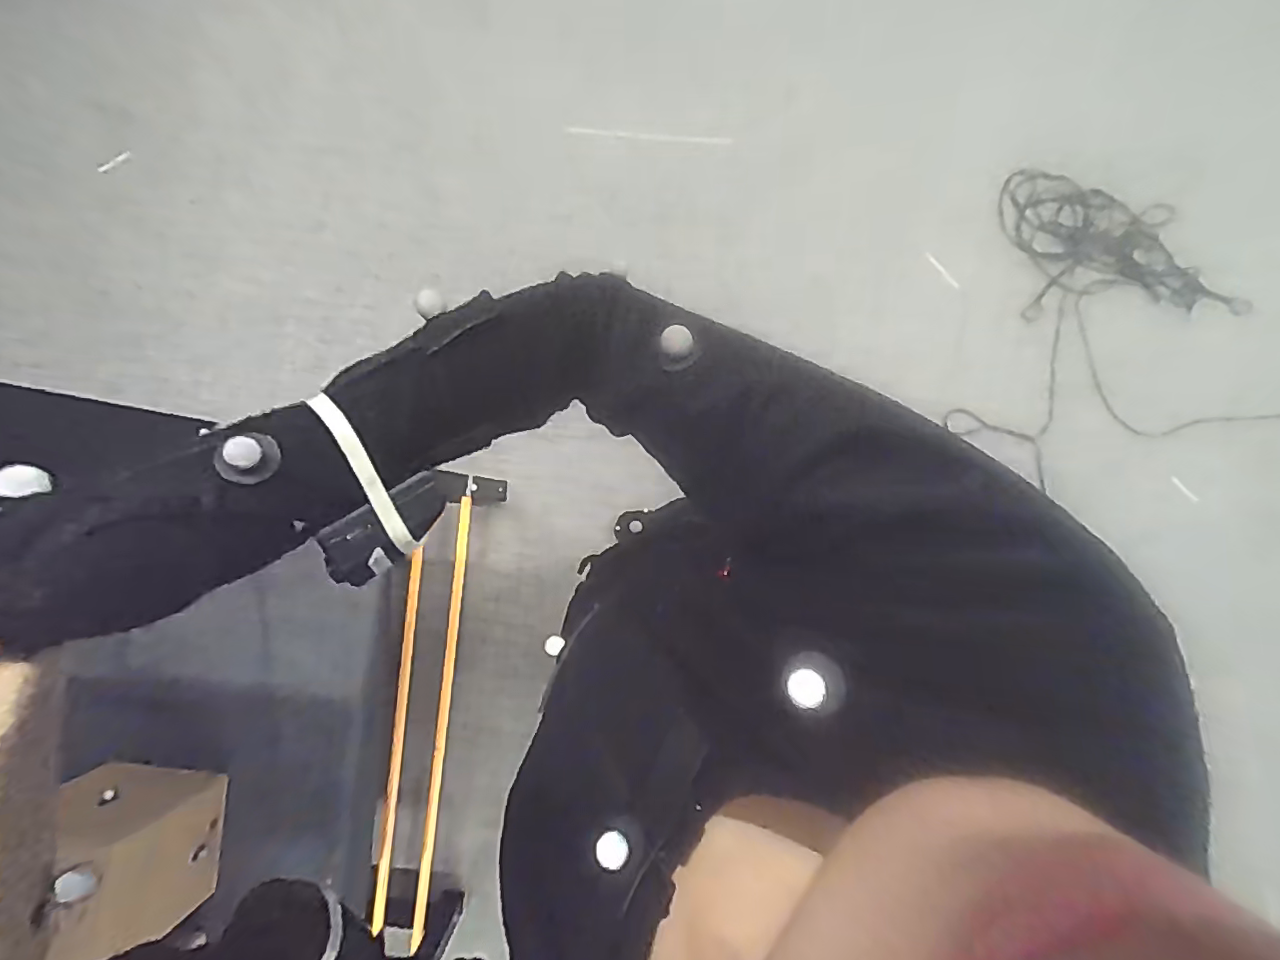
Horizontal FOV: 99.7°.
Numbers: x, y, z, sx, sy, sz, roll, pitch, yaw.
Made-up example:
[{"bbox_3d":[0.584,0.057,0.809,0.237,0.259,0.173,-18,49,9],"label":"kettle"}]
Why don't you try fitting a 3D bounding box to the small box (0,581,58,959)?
[{"bbox_3d":[-0.267,0.122,0.120,0.179,0.176,0.168,4,90,-43],"label":"small box"}]
